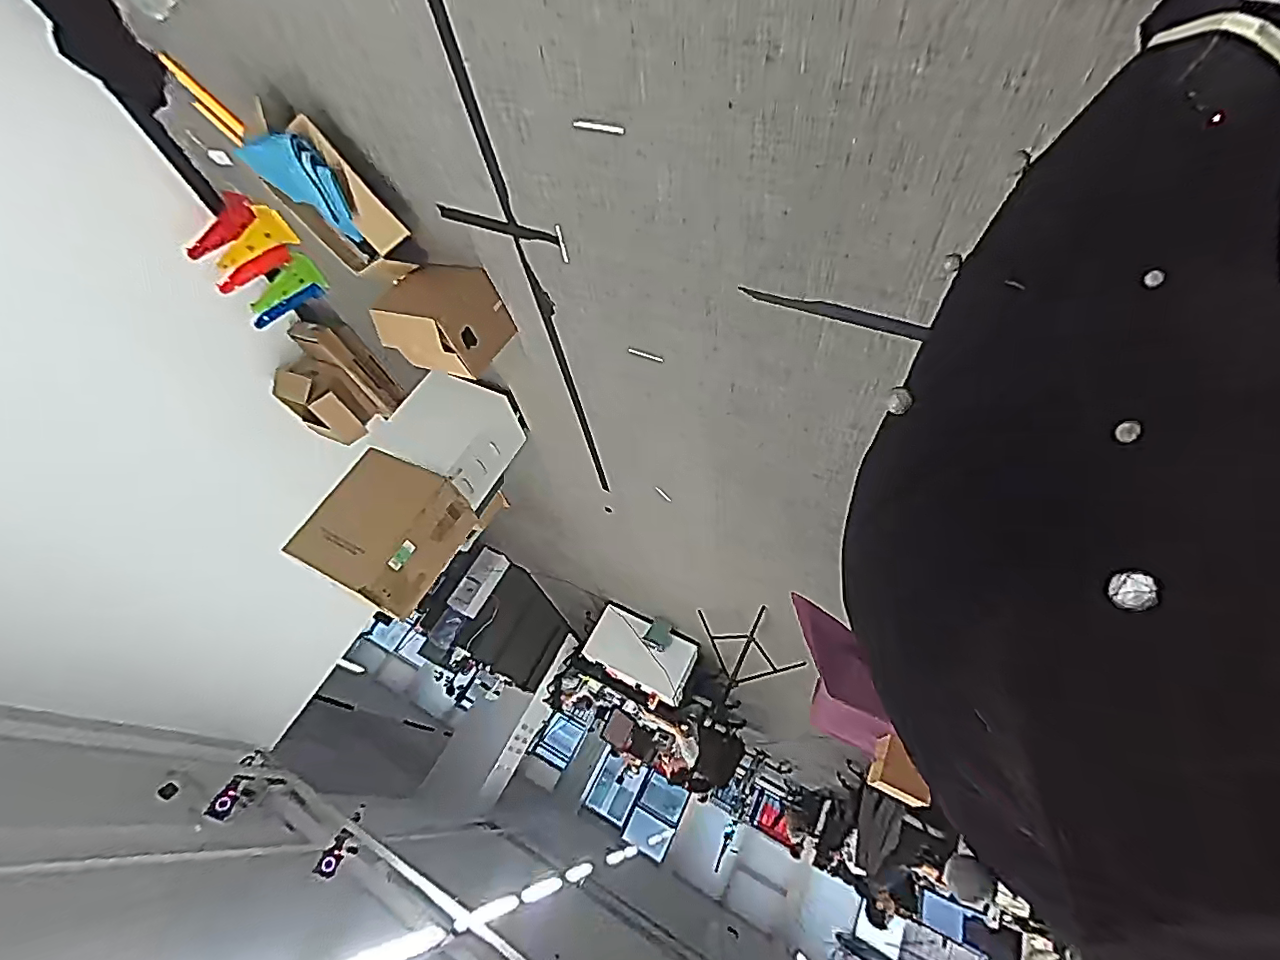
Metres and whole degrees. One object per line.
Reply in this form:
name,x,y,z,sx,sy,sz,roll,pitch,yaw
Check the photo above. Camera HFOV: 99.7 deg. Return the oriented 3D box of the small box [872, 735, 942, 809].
small box,0.940,1.026,1.903,0.168,0.176,0.179,20,152,20
